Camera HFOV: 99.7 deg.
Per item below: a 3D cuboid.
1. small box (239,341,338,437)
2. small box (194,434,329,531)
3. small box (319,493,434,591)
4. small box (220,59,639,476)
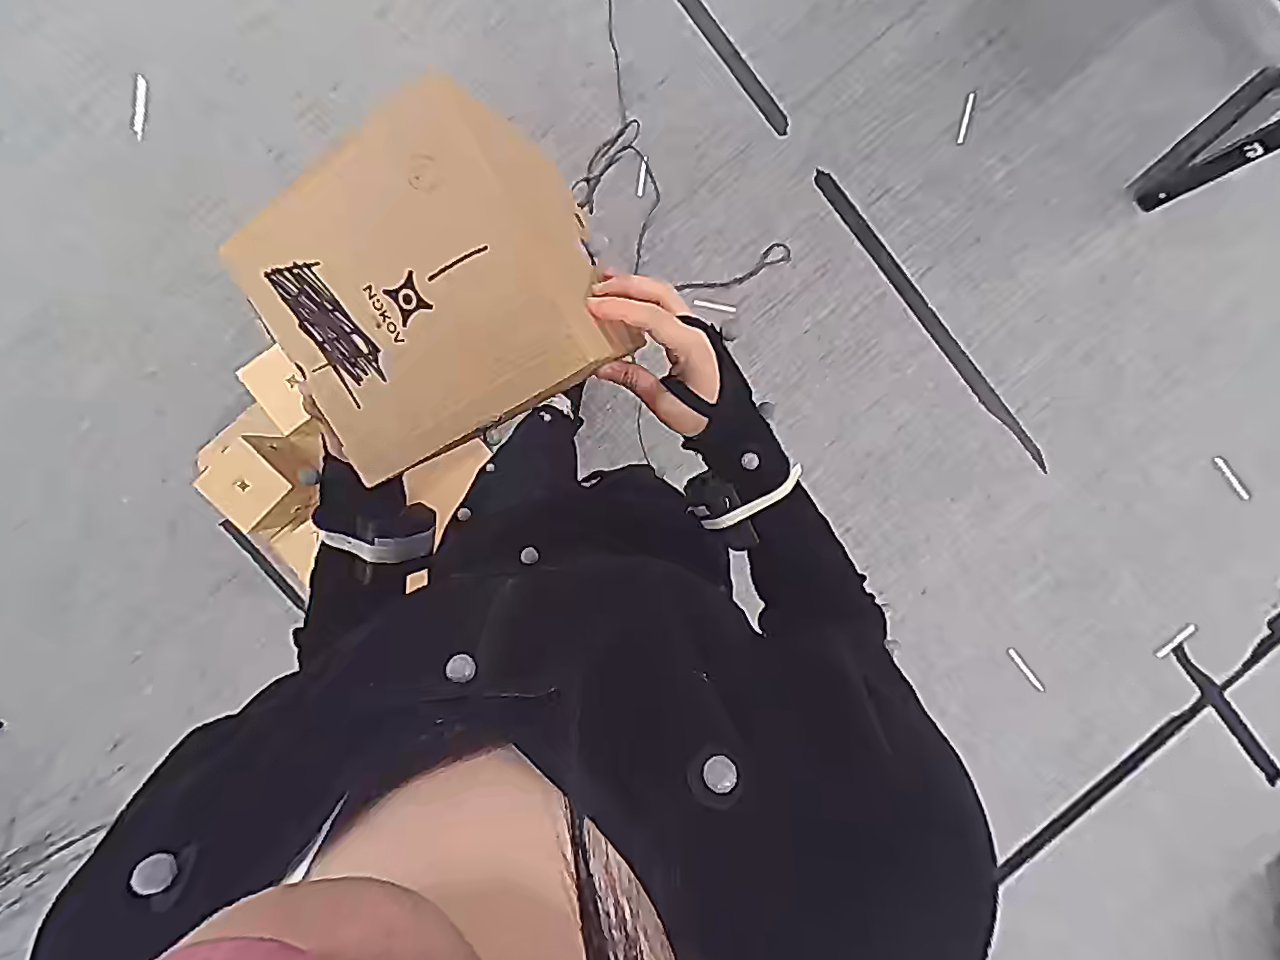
[{"bbox_3d":[-0.714,-0.208,1.196,0.179,0.176,0.168,-37,93,-2],"label":"small box"},{"bbox_3d":[-0.939,0.007,1.357,0.179,0.176,0.168,44,91,-2],"label":"small box"},{"bbox_3d":[-0.657,0.149,1.372,0.168,0.176,0.179,-32,94,-1],"label":"small box"},{"bbox_3d":[-0.122,-0.128,0.380,0.179,0.176,0.168,-25,102,18],"label":"small box"}]
